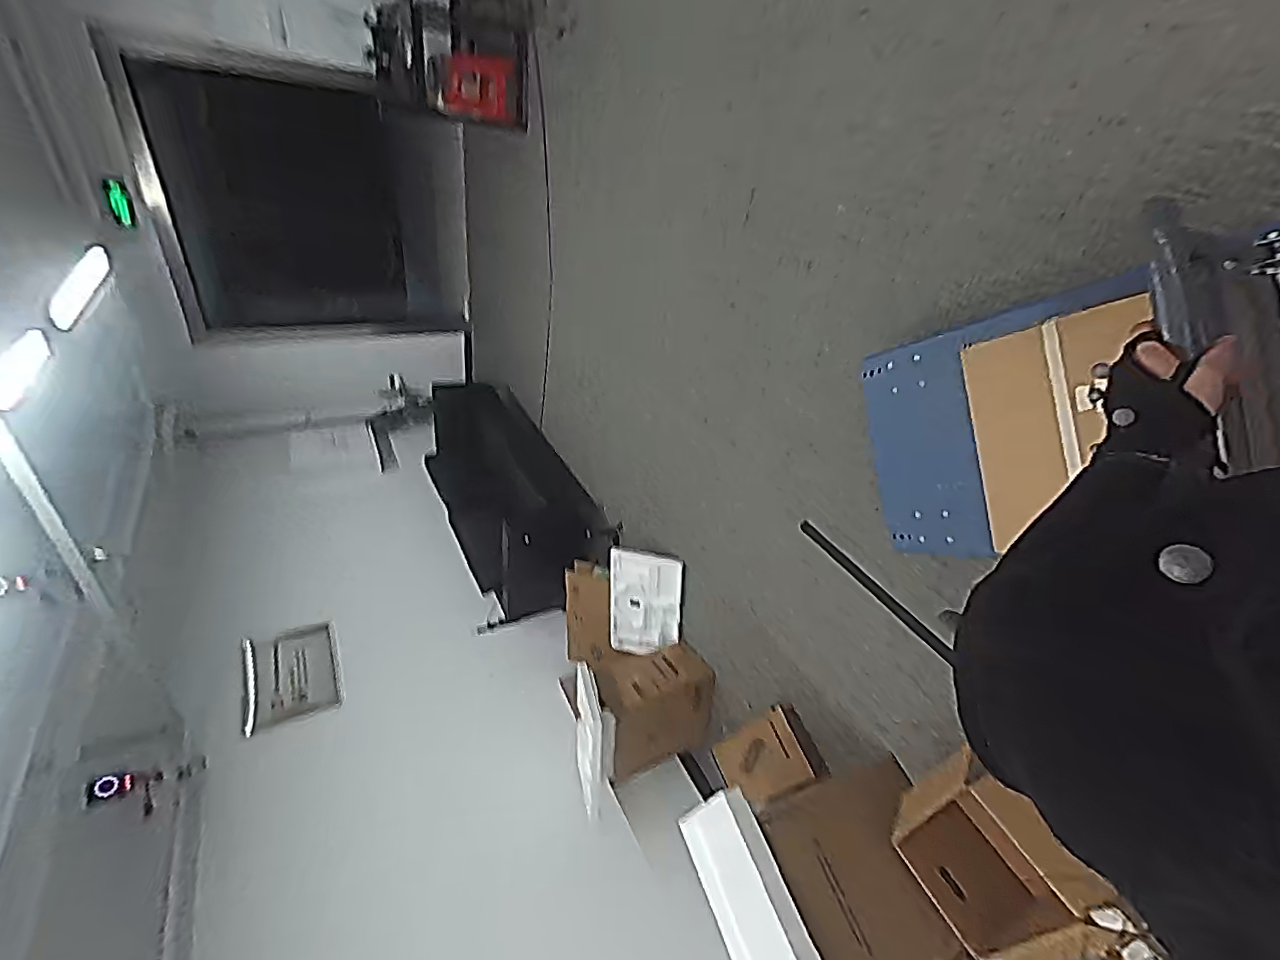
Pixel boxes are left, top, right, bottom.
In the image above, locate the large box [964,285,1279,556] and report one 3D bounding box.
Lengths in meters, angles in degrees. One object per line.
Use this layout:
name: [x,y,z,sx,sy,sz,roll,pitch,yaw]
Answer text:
large box: [0.855,-0.093,0.965,0.320,0.320,0.408,-10,90,62]
